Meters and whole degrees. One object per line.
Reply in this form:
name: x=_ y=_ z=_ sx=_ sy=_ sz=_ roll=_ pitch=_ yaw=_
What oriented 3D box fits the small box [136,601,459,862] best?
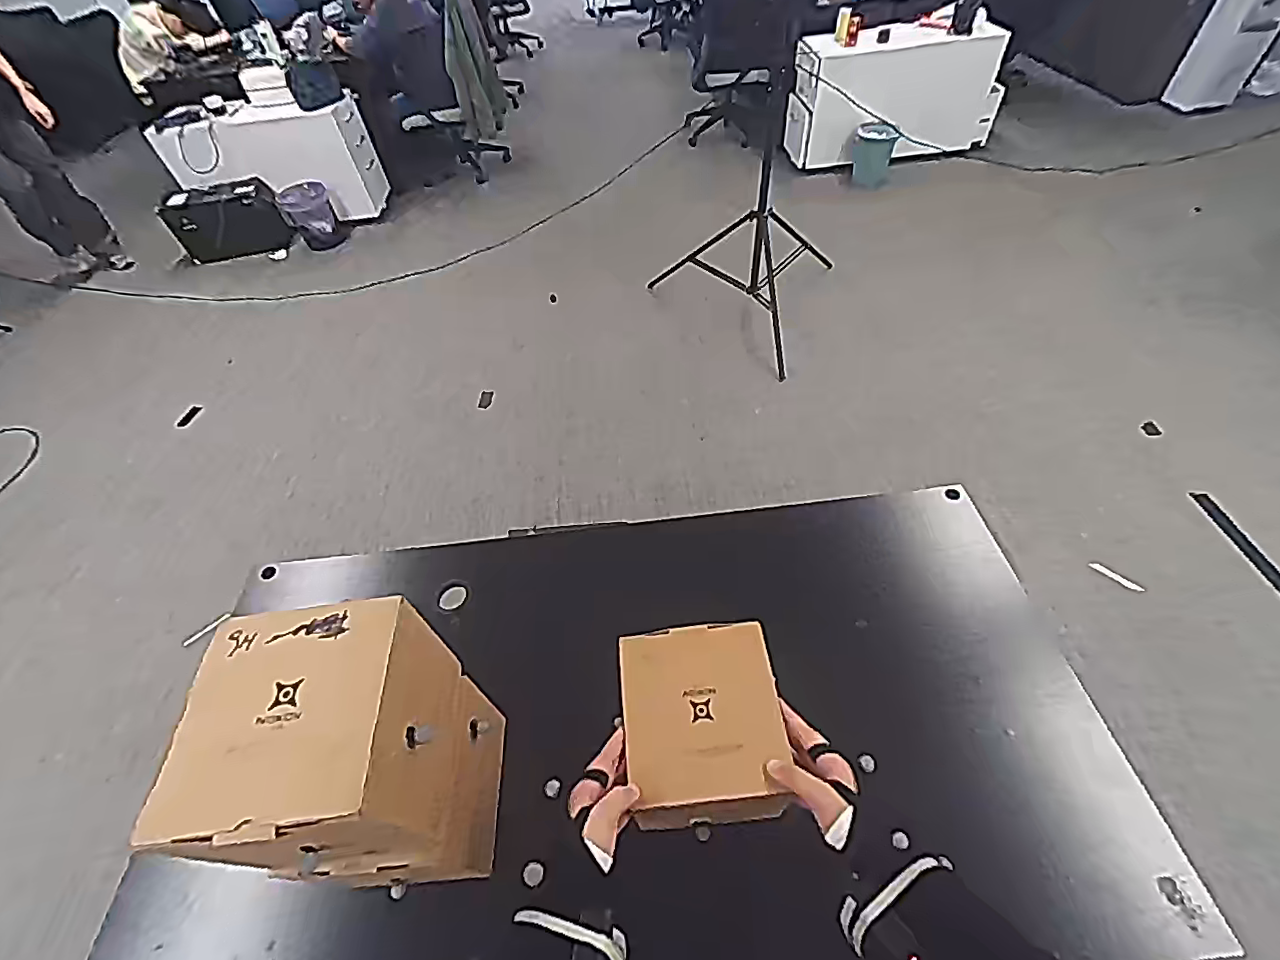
small box: x=-0.277 y=0.234 z=0.493 sx=0.168 sy=0.176 sz=0.179 roll=-7 pitch=51 yaw=-1

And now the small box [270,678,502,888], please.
small box: x=-0.262 y=0.345 z=0.613 sx=0.168 sy=0.176 sz=0.179 roll=-5 pitch=51 yaw=1

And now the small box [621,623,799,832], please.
small box: x=0.071 y=0.290 z=0.630 sx=0.168 sy=0.176 sz=0.179 roll=-8 pitch=51 yaw=1
